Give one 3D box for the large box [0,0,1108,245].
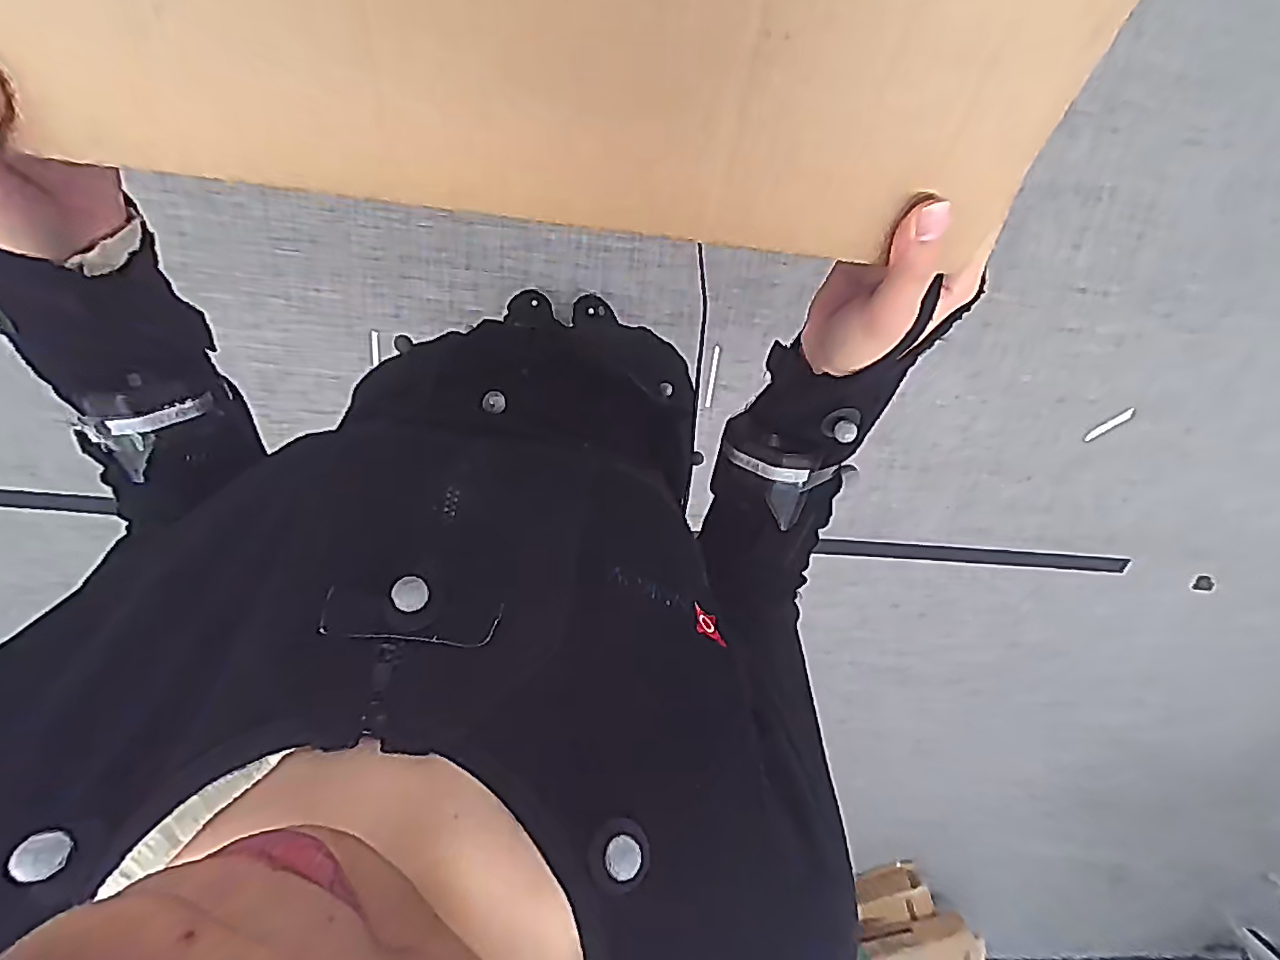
[{"bbox_3d":[-0.037,-0.328,0.212,0.408,0.320,0.320,4,140,-6],"label":"large box"}]
